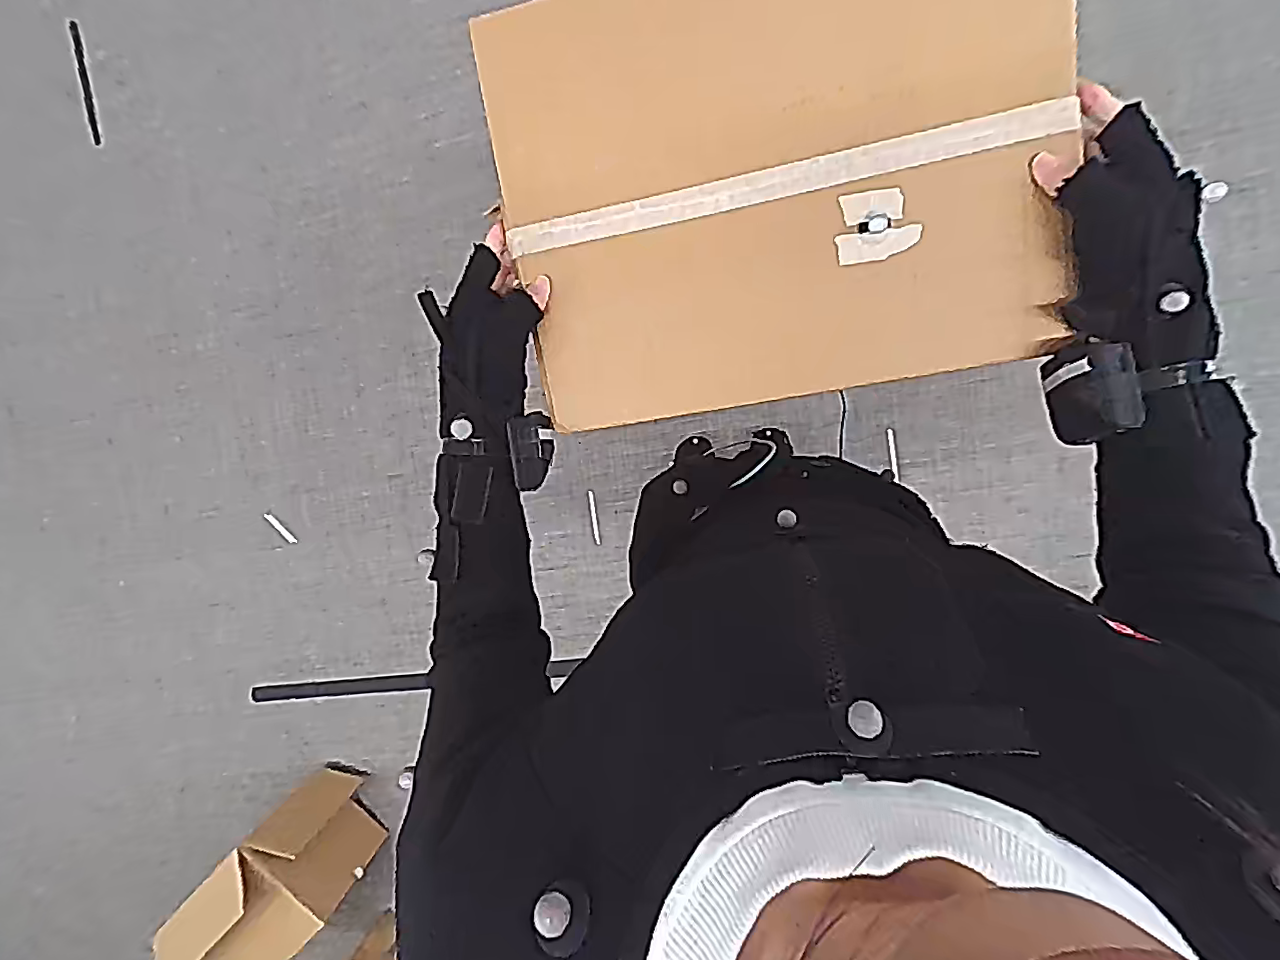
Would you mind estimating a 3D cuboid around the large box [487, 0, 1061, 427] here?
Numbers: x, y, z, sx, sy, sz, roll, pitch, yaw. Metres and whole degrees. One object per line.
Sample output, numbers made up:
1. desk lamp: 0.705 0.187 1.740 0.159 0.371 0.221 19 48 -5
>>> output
1. large box: 0.116 -0.252 0.558 0.408 0.320 0.320 -8 101 9
